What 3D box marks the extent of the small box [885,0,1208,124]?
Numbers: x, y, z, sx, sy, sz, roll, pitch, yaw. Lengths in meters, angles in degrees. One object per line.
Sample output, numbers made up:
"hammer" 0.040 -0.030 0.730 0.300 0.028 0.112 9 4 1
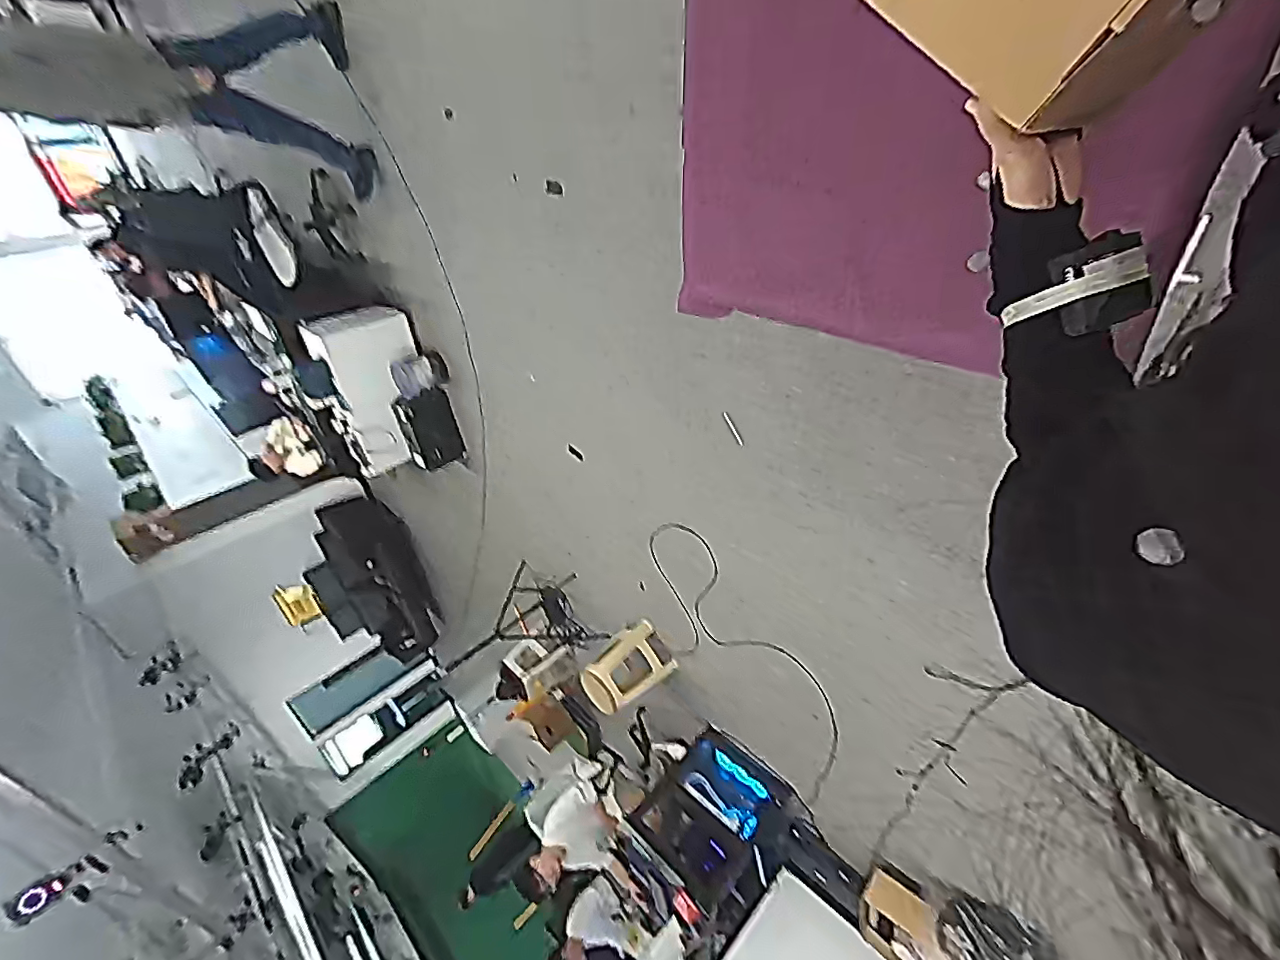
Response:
"small box" 0.290 -0.369 0.346 0.179 0.176 0.168 55 148 14
